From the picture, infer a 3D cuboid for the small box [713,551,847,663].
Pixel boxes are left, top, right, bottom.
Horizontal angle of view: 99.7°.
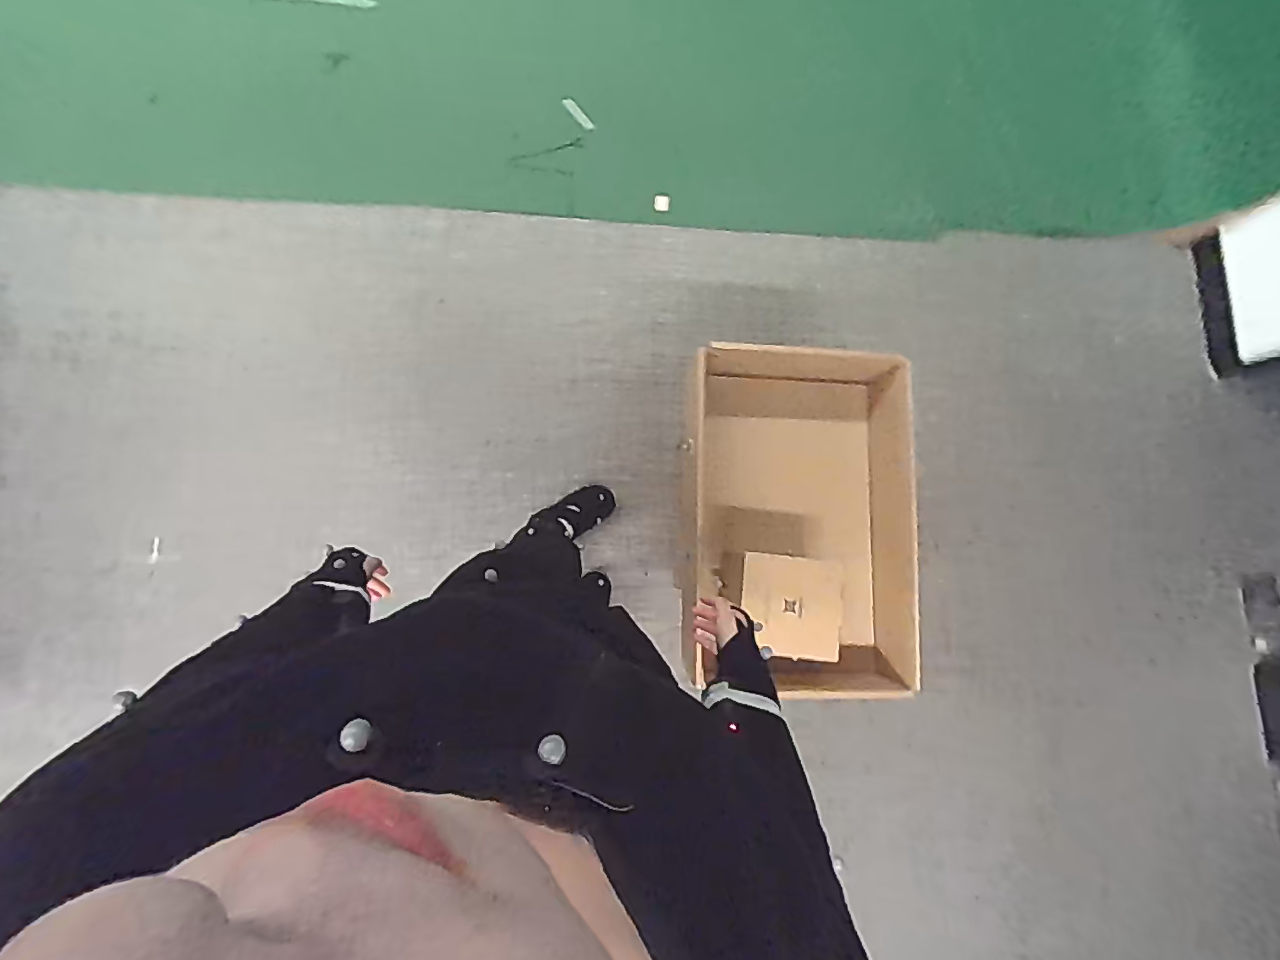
[{"bbox_3d":[0.244,0.220,0.972,0.179,0.176,0.168,9,81,-5],"label":"small box"}]
